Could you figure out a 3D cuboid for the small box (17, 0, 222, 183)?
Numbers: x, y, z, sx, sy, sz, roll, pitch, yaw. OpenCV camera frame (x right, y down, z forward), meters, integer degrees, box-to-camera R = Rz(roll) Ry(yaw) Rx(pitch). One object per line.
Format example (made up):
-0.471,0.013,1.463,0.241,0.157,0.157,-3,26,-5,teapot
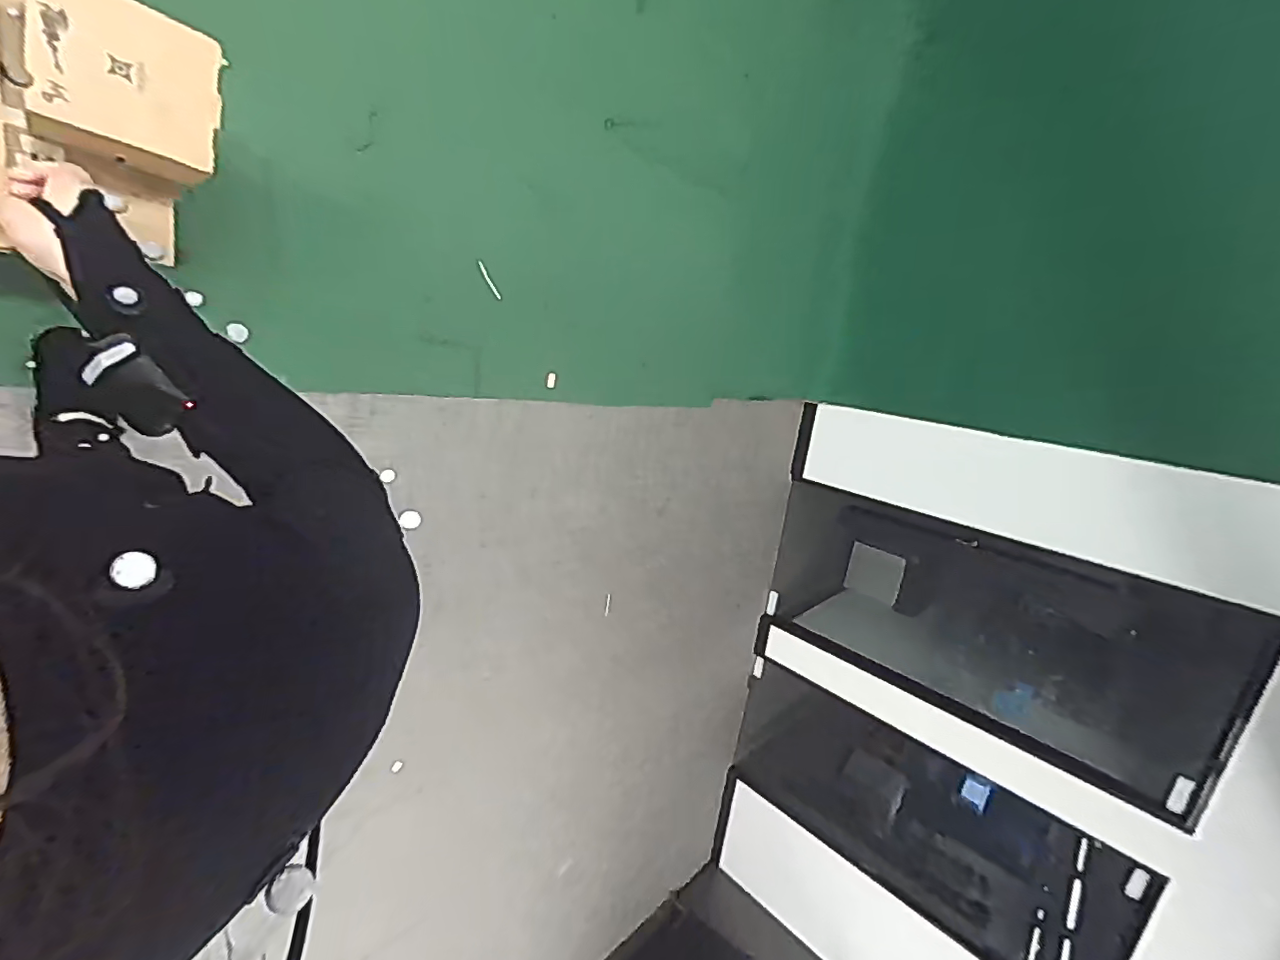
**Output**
-0.683,-0.512,0.711,0.179,0.176,0.168,2,103,-48,small box

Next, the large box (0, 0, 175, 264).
-0.964,-0.513,0.778,0.408,0.320,0.320,-5,110,-48,large box
